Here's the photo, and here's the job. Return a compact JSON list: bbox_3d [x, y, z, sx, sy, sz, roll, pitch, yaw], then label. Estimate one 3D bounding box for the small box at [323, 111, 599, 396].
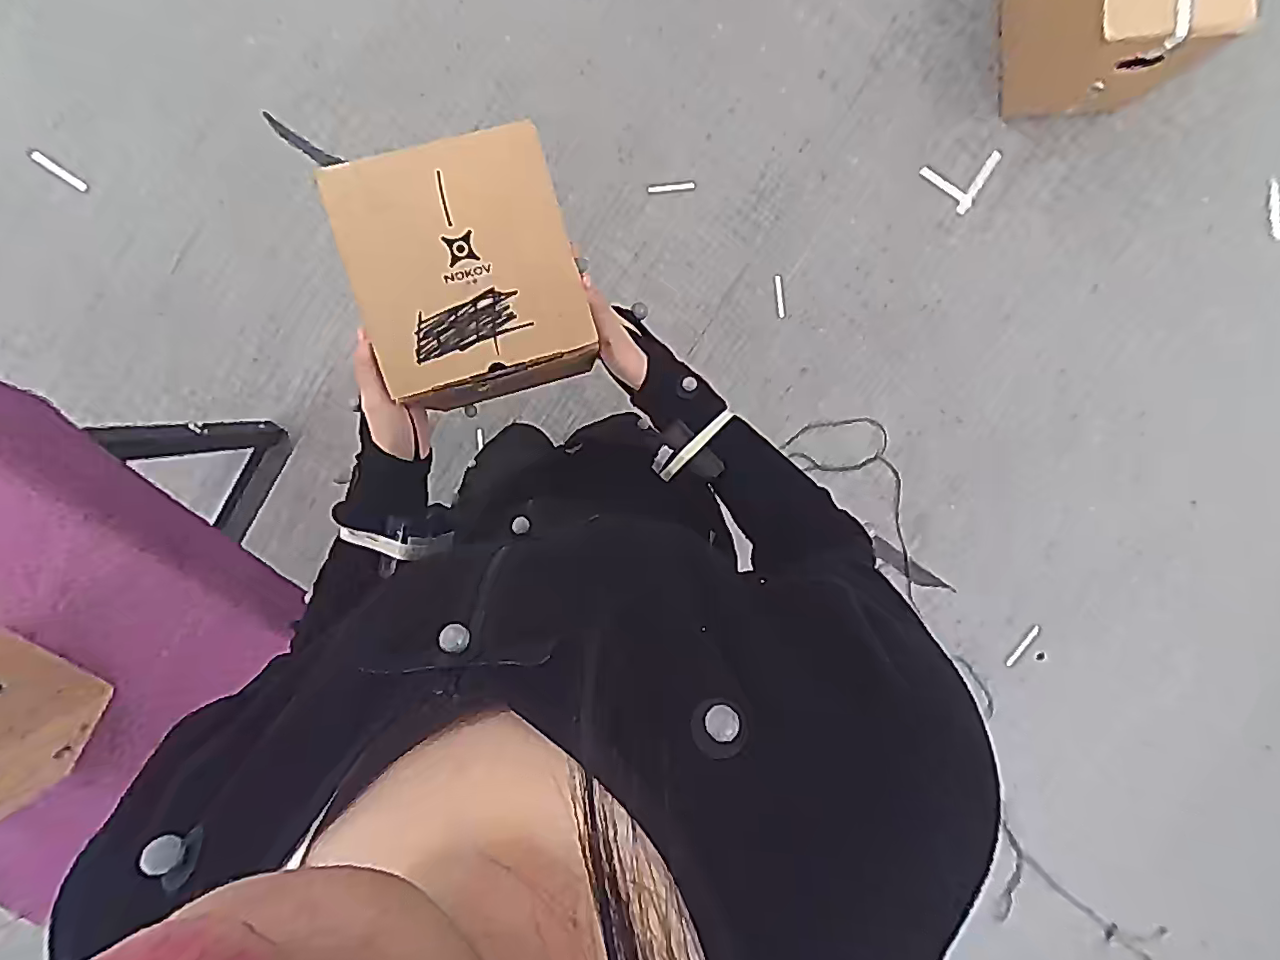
[{"bbox_3d":[-0.138,-0.178,0.483,0.168,0.176,0.179,-16,96,-6],"label":"small box"}]
